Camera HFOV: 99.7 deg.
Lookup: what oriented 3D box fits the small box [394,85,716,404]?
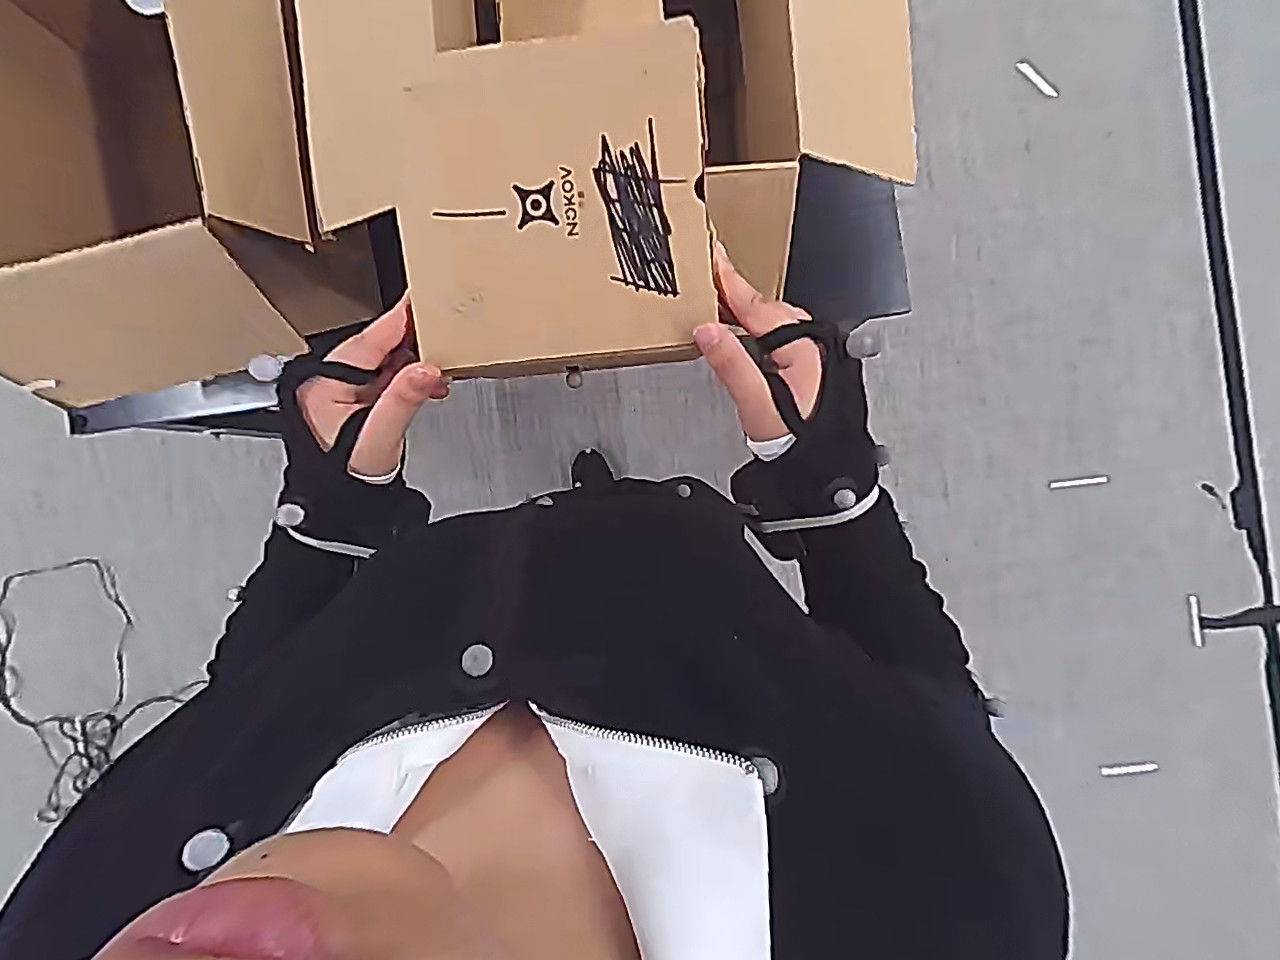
[{"bbox_3d":[-0.046,-0.148,0.396,0.179,0.176,0.168,-5,99,3],"label":"small box"}]
